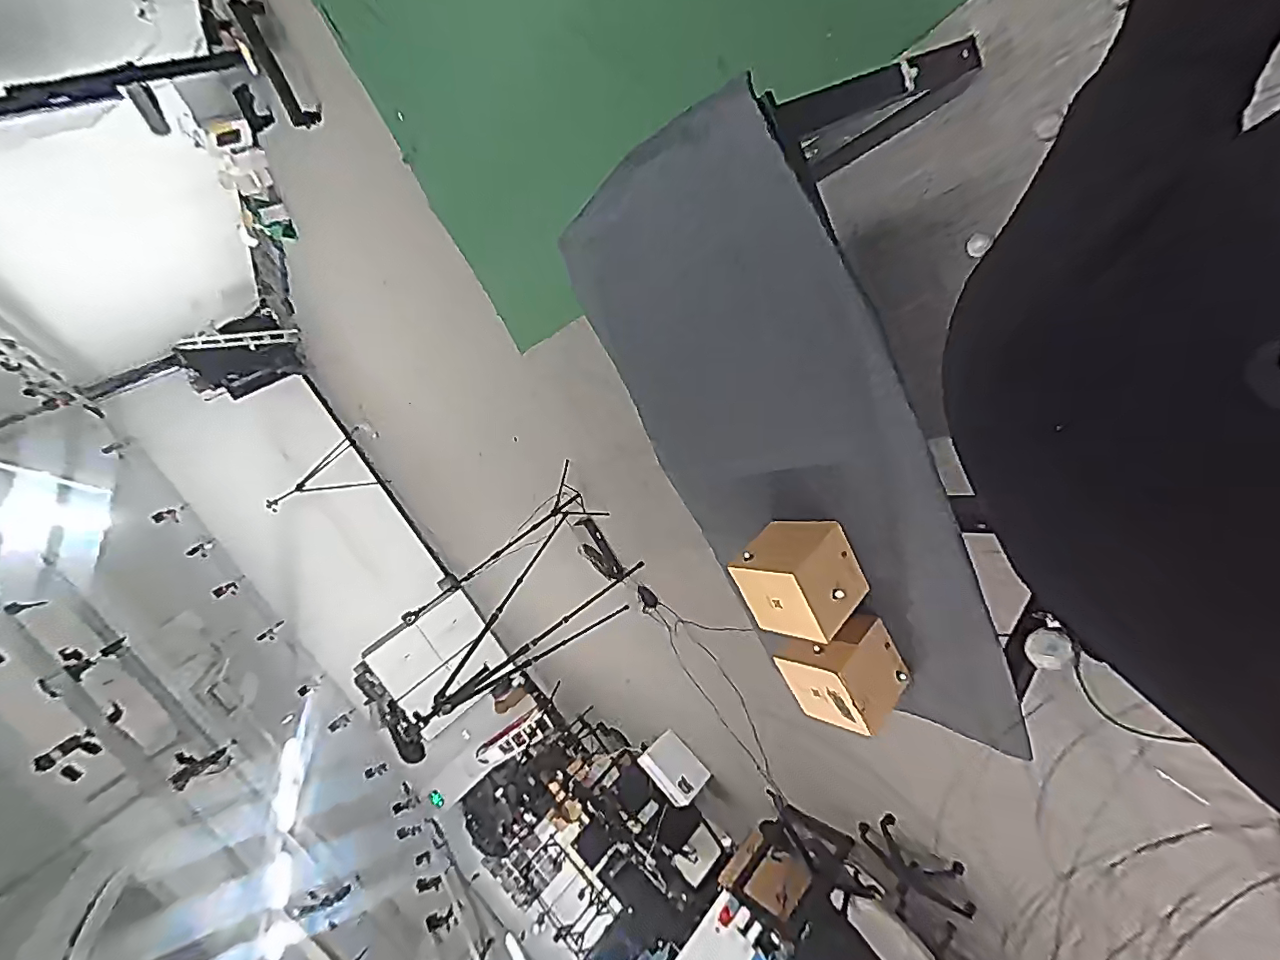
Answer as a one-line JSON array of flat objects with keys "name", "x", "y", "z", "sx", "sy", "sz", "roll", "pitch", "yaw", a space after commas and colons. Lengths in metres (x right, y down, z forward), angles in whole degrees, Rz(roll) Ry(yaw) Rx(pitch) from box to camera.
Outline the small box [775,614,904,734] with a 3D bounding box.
[{"name": "small box", "x": 0.429, "y": 0.395, "z": 1.149, "sx": 0.168, "sy": 0.176, "sz": 0.179, "roll": 59, "pitch": 151, "yaw": -11}]

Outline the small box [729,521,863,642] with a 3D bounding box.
[{"name": "small box", "x": 0.321, "y": 0.194, "z": 1.087, "sx": 0.179, "sy": 0.176, "sz": 0.168, "roll": -6, "pitch": 117, "yaw": 58}]
